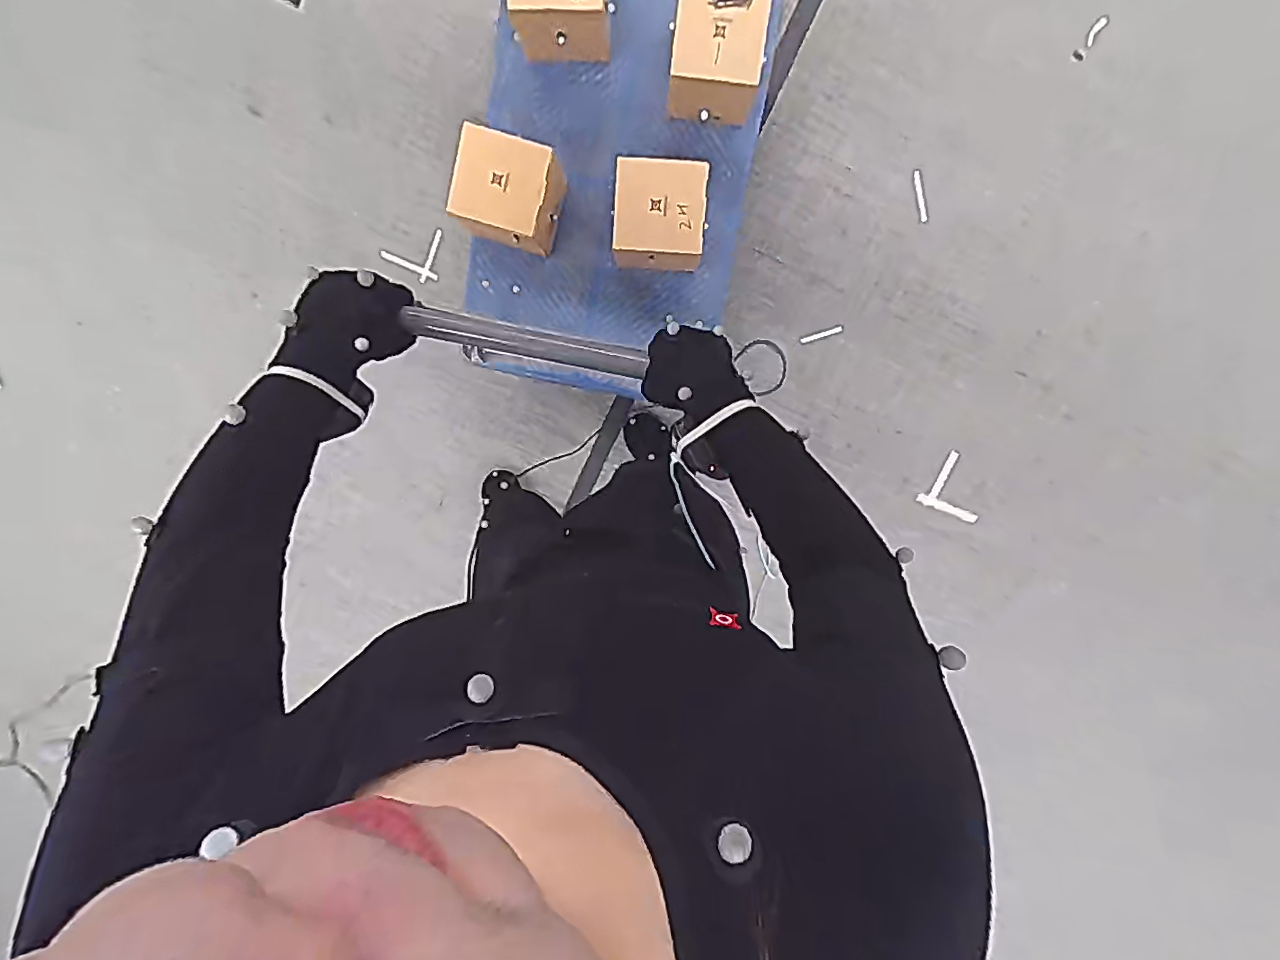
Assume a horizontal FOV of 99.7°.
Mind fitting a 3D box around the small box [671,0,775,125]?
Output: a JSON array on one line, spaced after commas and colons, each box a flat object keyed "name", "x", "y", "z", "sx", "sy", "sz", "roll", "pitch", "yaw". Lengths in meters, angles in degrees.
[{"name": "small box", "x": 0.151, "y": -0.824, "z": 1.039, "sx": 0.168, "sy": 0.176, "sz": 0.179, "roll": 8, "pitch": 102, "yaw": 1}]

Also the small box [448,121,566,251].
[{"name": "small box", "x": -0.263, "y": -0.585, "z": 1.101, "sx": 0.179, "sy": 0.176, "sz": 0.168, "roll": 16, "pitch": 101, "yaw": -3}]

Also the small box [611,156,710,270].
[{"name": "small box", "x": 0.041, "y": -0.533, "z": 1.100, "sx": 0.179, "sy": 0.176, "sz": 0.168, "roll": 5, "pitch": 101, "yaw": 1}]
